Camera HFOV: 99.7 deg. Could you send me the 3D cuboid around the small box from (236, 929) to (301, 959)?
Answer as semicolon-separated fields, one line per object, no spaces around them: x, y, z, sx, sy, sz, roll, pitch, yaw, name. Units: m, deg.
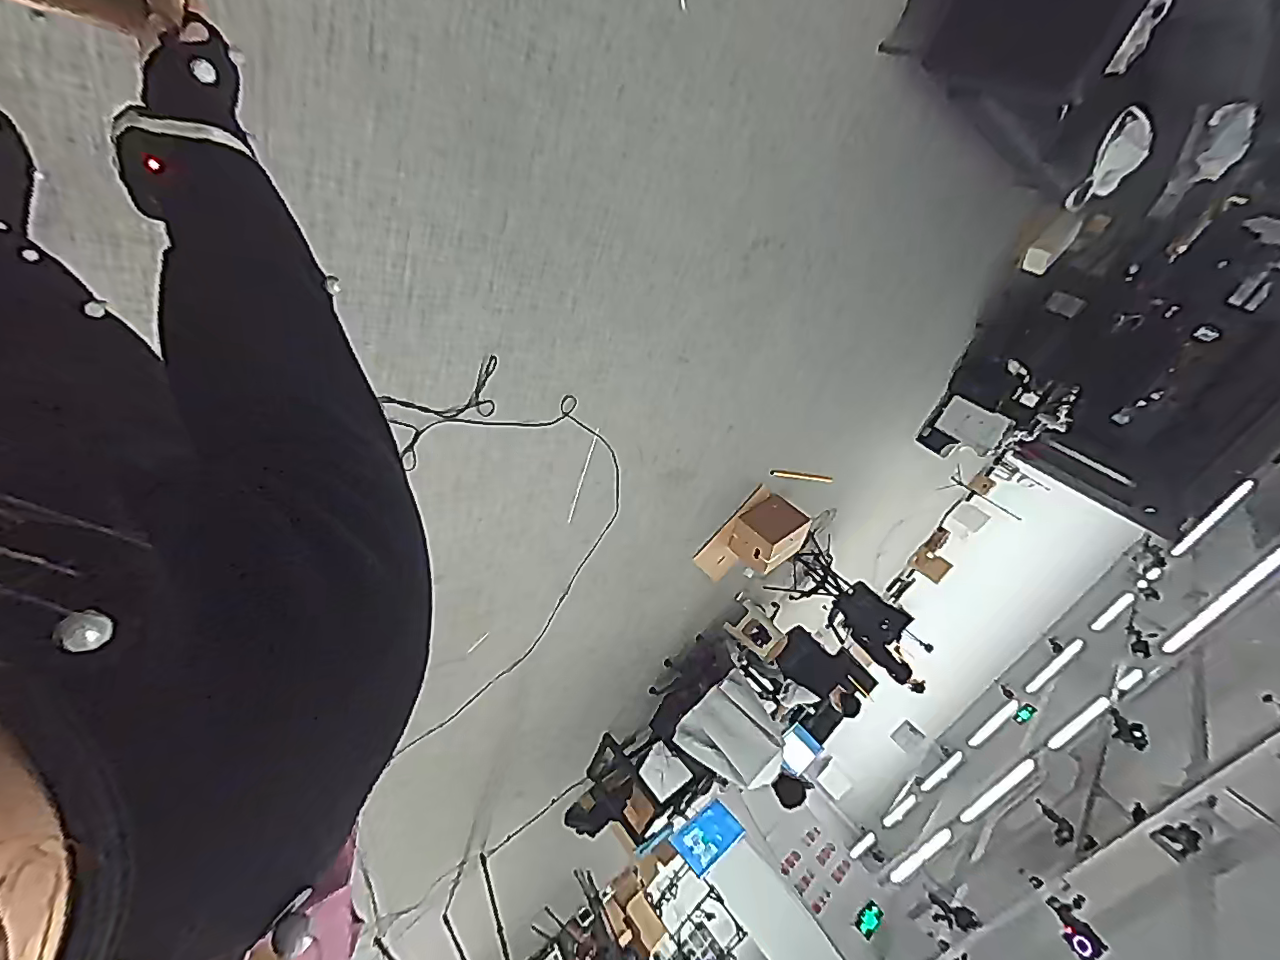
-0.887;1.209;1.259;0.179;0.176;0.168;-14;135;-42;small box
